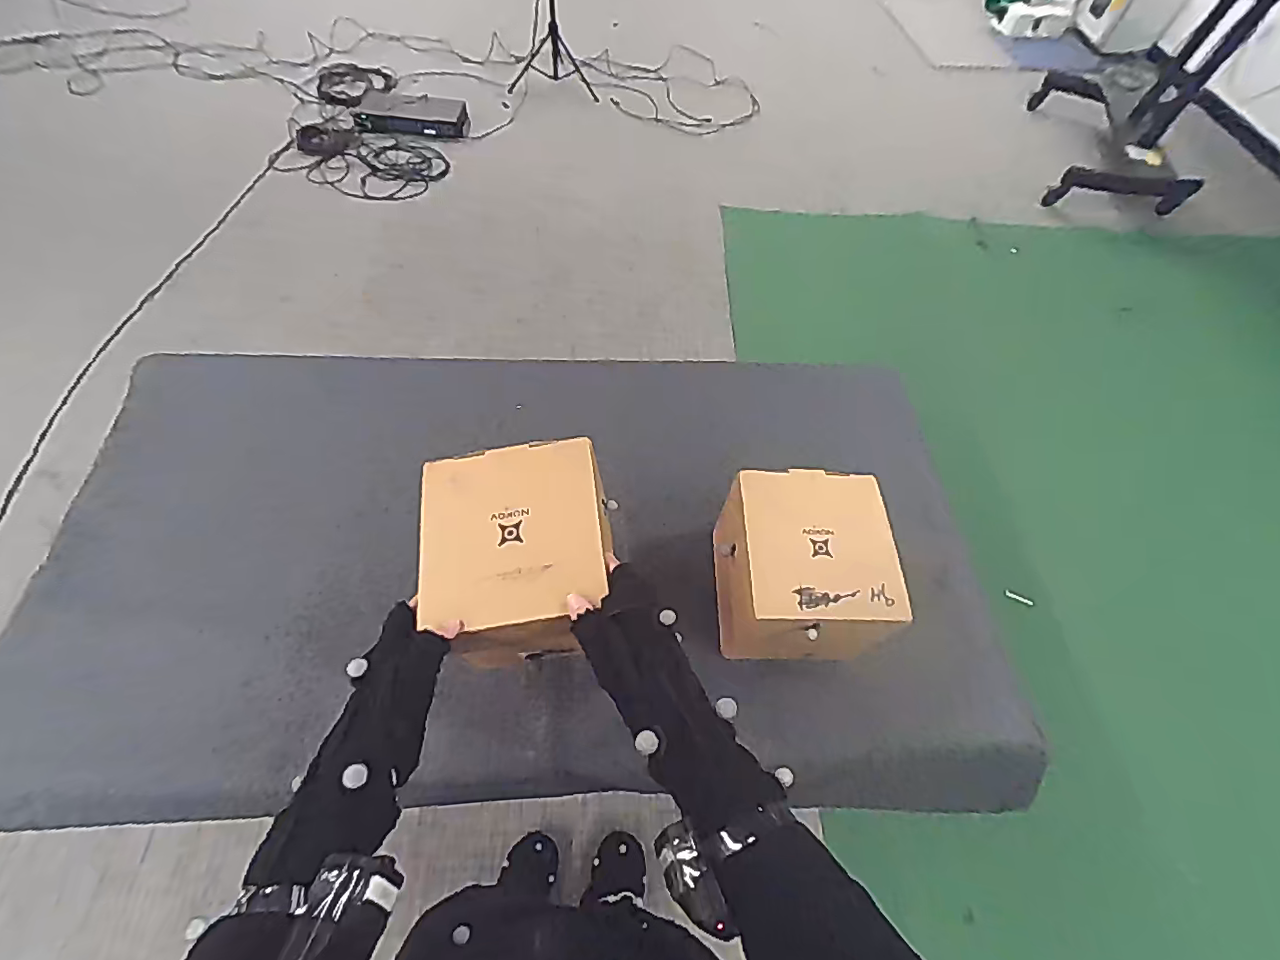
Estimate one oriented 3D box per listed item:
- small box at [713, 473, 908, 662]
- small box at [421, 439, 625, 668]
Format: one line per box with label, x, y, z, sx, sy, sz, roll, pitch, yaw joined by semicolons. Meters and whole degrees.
small box;0.187;0.110;0.658;0.168;0.176;0.179;1;58;-3
small box;-0.111;0.083;0.561;0.168;0.176;0.179;-9;63;-2
